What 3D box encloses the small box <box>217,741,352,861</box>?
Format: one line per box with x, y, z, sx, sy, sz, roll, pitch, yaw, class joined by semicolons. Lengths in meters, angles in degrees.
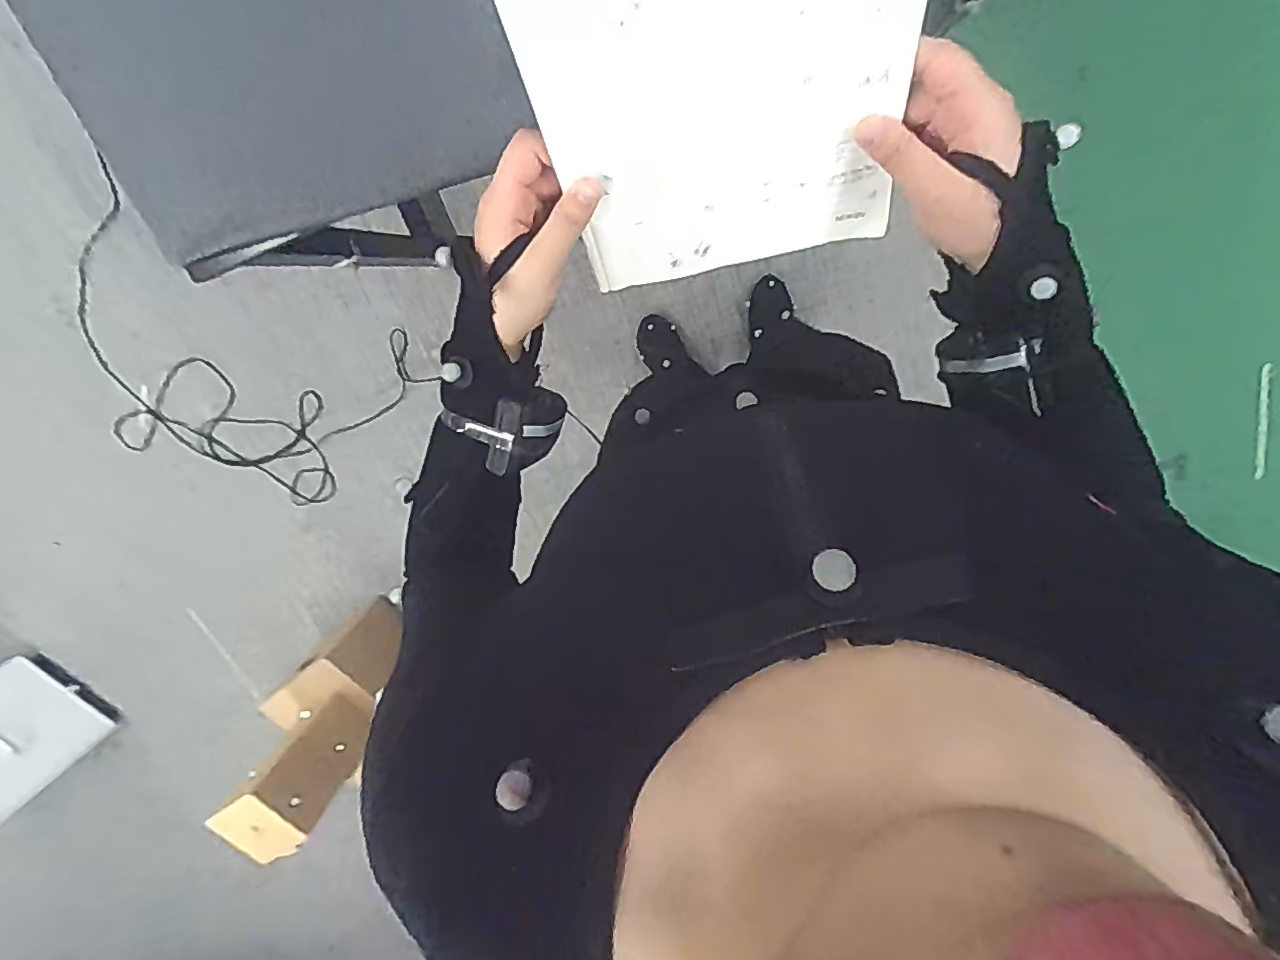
-0.857;0.771;1.321;0.168;0.176;0.179;-35;106;14;small box

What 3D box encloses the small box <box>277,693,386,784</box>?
-0.840;0.724;1.476;0.168;0.176;0.179;-36;105;15;small box
